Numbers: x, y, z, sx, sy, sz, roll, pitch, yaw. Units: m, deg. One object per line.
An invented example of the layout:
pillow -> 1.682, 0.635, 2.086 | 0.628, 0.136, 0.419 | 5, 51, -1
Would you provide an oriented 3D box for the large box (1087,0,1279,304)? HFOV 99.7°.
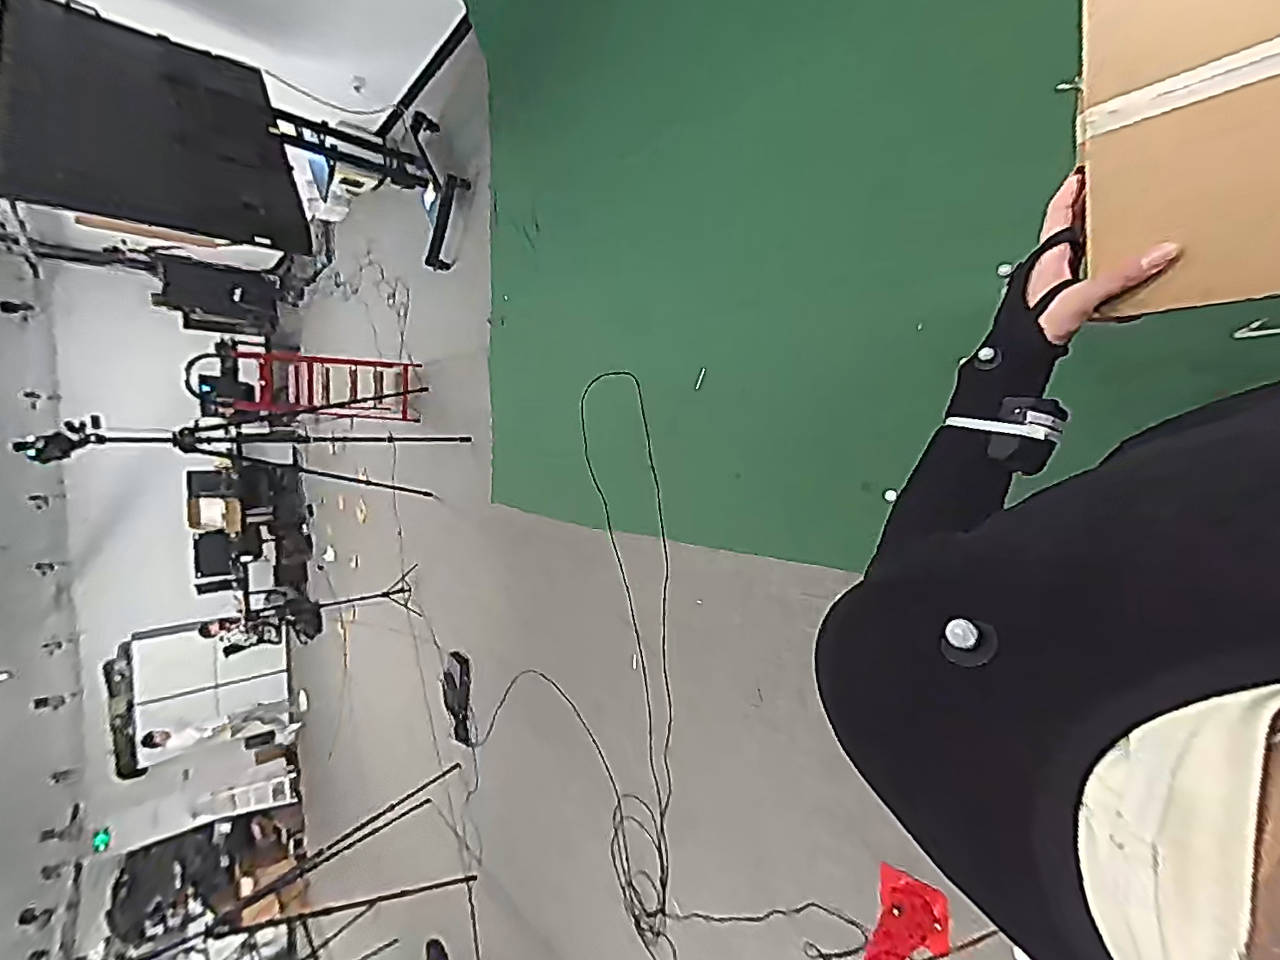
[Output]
large box -> 0.602, -0.335, 0.378 | 0.408, 0.320, 0.320 | 3, 111, 50
